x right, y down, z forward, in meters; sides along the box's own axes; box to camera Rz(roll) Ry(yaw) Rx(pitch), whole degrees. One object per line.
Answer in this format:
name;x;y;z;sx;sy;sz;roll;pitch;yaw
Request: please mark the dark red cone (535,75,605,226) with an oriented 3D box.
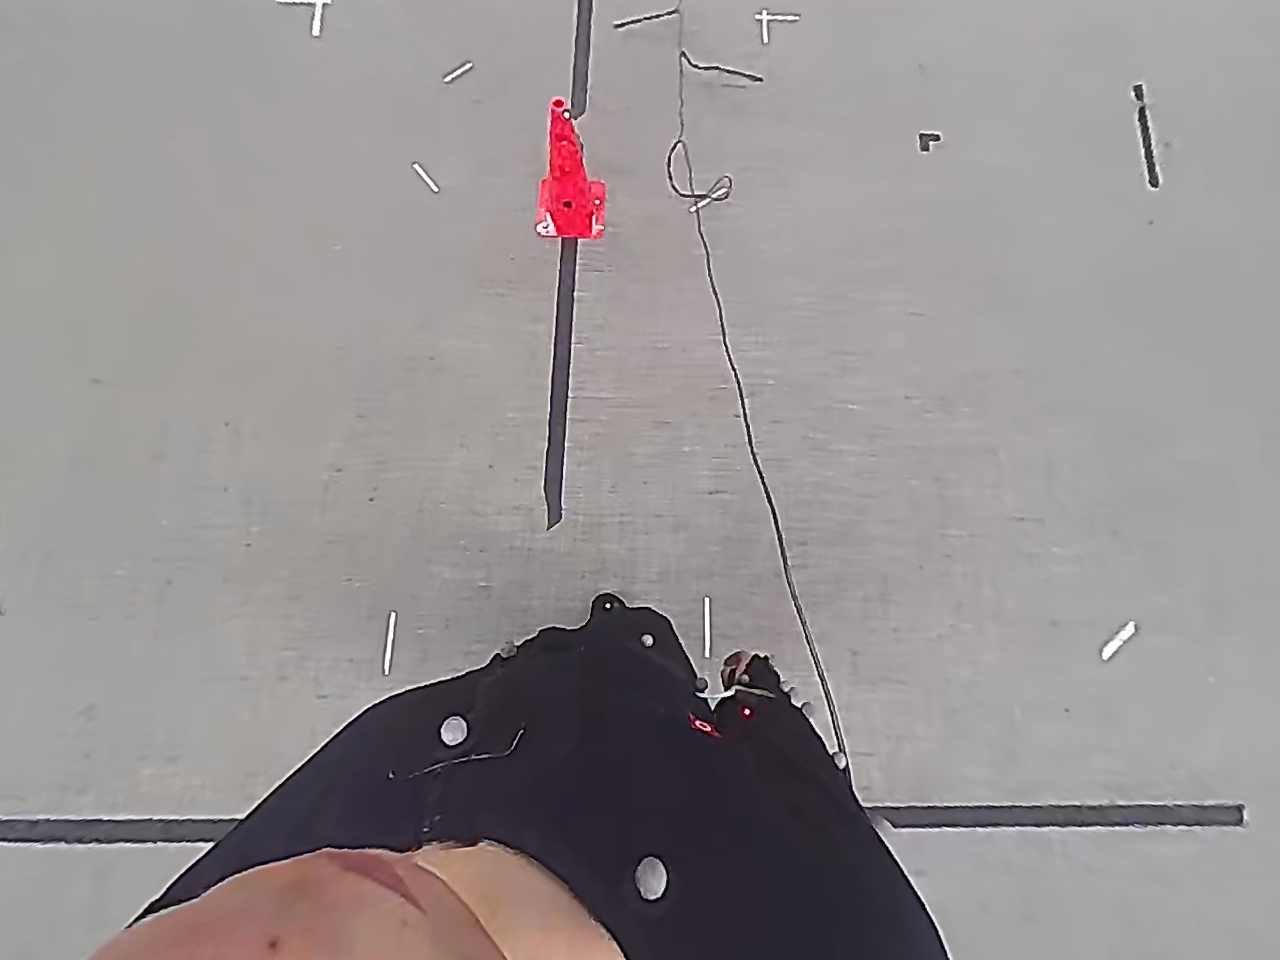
dark red cone;-0.196;-0.871;1.431;0.201;0.394;0.202;1;78;-3
